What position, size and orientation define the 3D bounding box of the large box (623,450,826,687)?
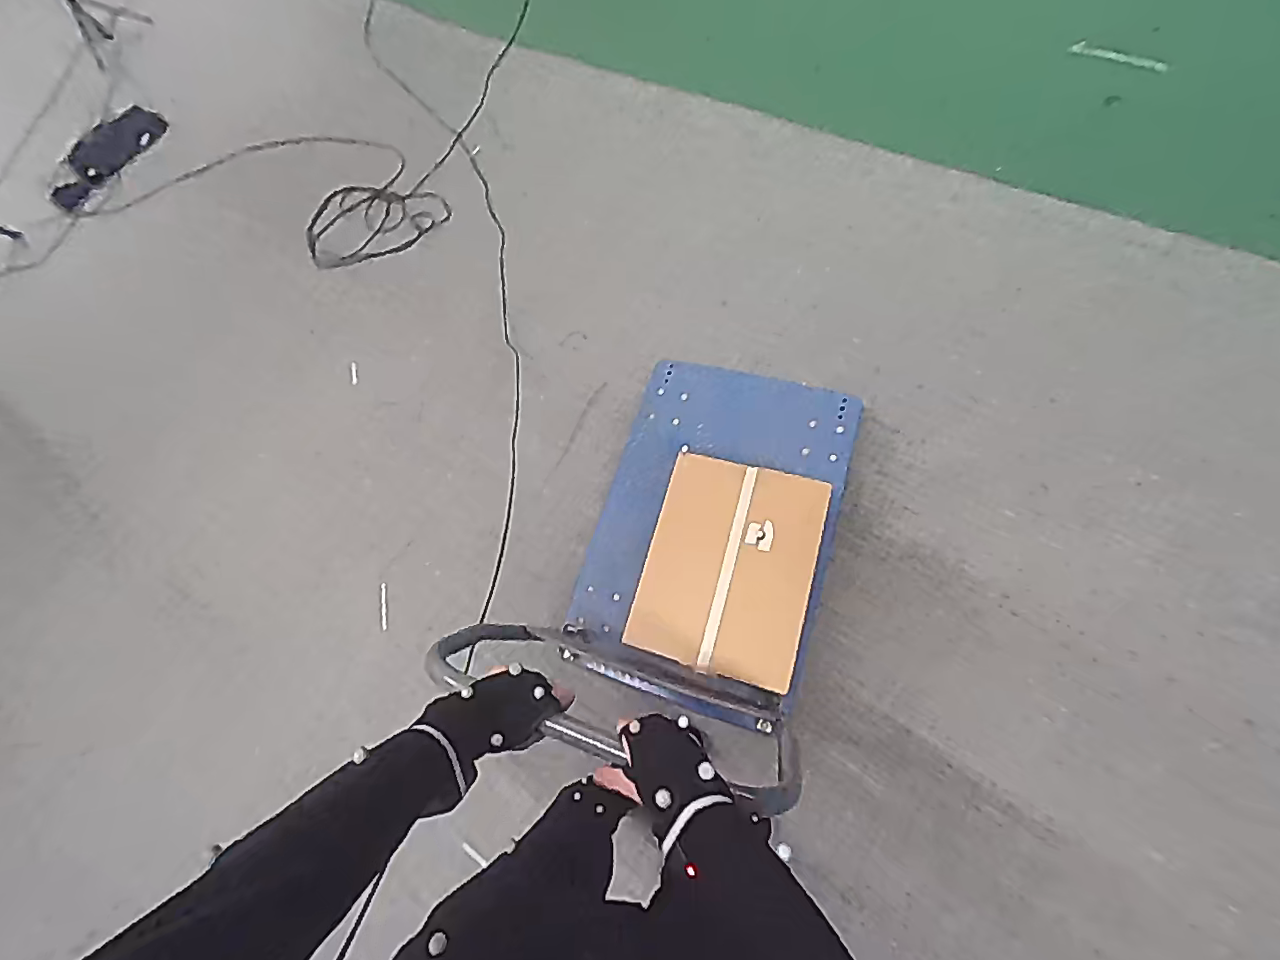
[{"bbox_3d":[0.189,0.201,1.172,0.320,0.320,0.408,14,73,14],"label":"large box"}]
